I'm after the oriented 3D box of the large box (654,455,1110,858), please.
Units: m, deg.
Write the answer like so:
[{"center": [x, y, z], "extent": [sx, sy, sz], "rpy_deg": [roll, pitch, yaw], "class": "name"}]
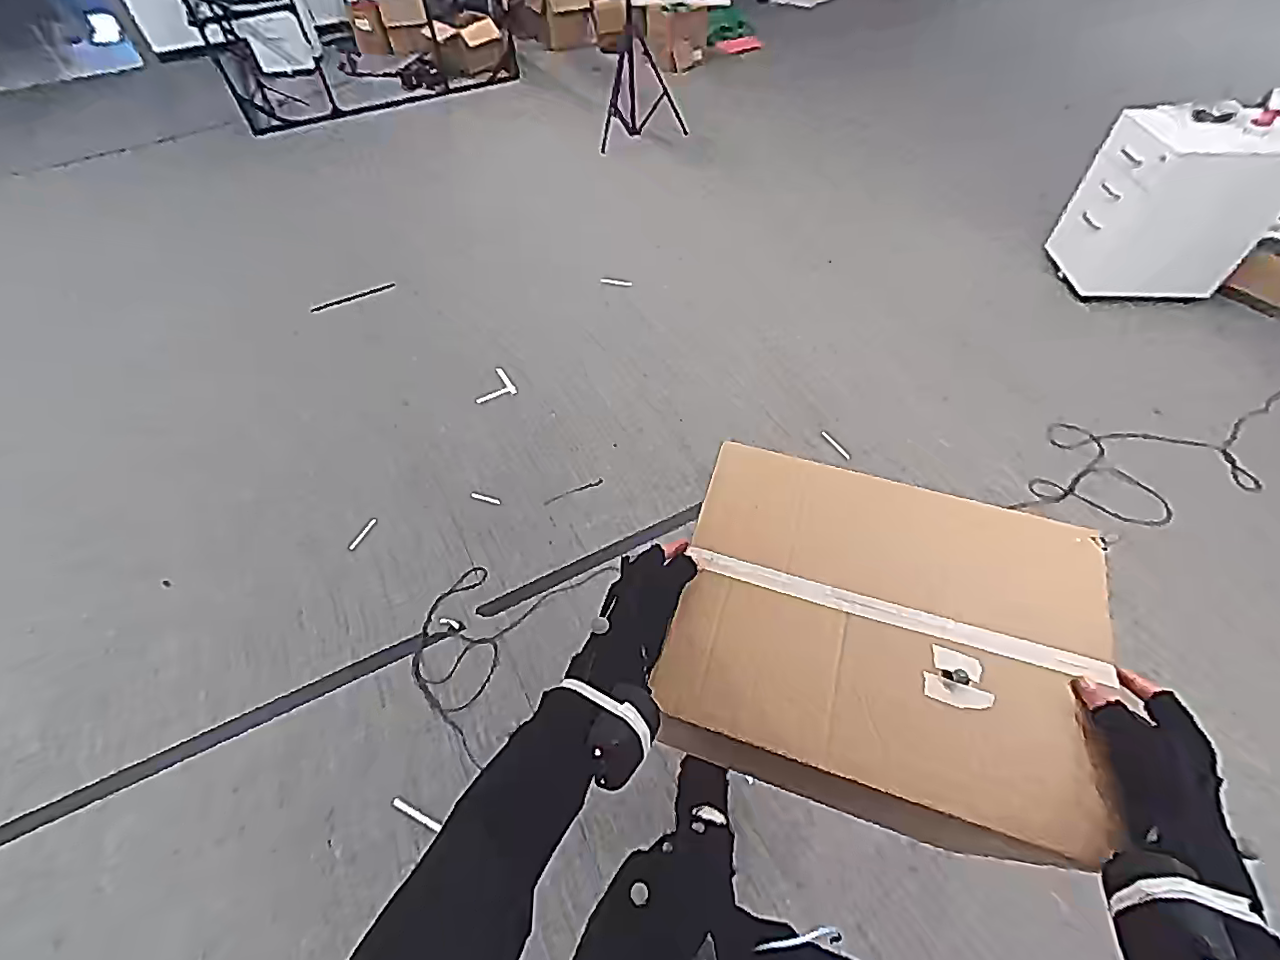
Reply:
[{"center": [0.250, 0.215, 0.679], "extent": [0.408, 0.320, 0.320], "rpy_deg": [15, 62, 12], "class": "large box"}]
